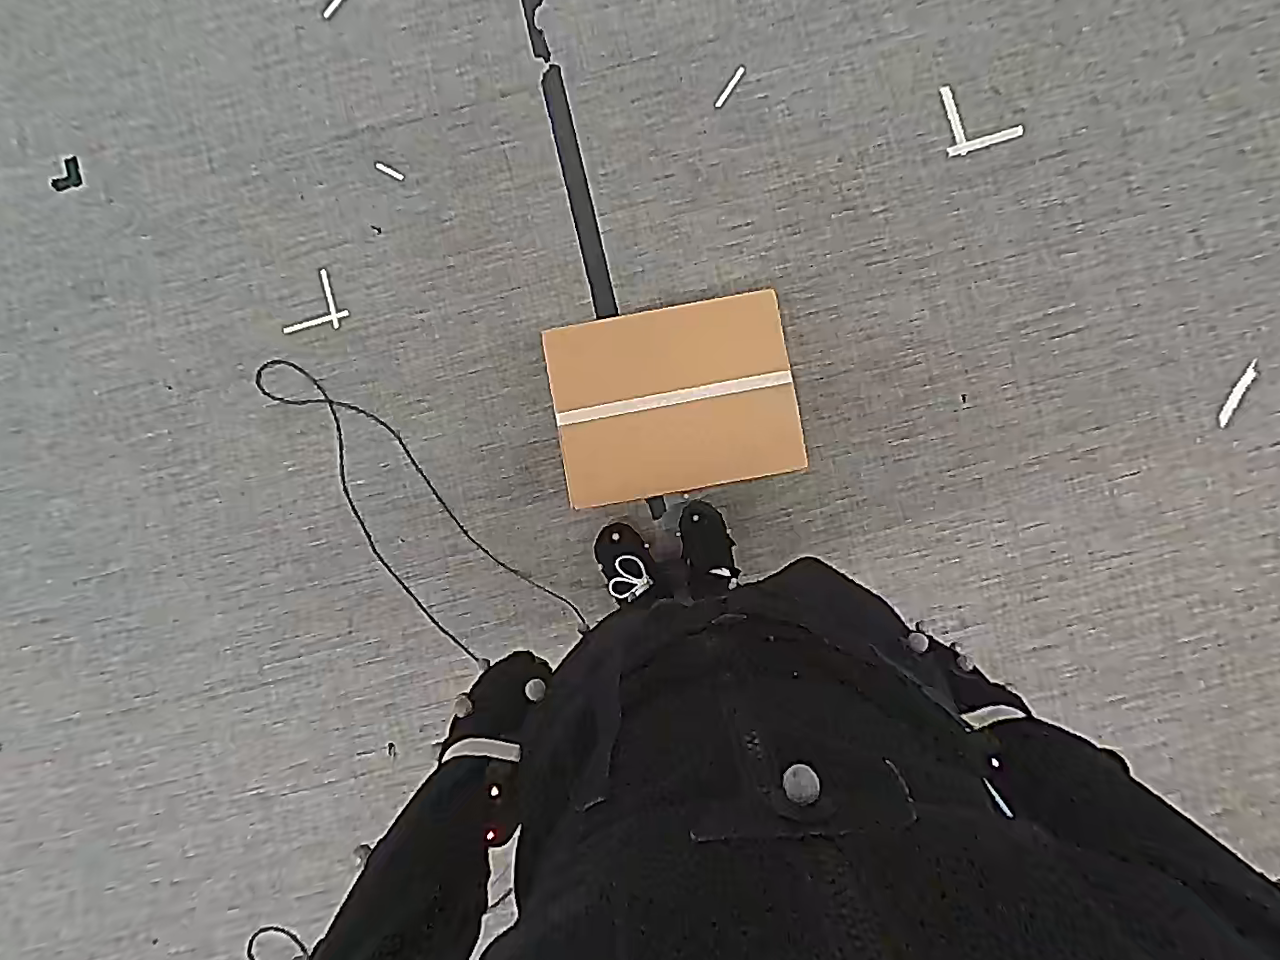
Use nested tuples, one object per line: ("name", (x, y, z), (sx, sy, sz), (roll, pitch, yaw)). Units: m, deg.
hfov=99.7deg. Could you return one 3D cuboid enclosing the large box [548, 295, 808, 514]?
("large box", (0.063, -0.124, 1.067), (0.408, 0.320, 0.320), (-10, 89, 0))
